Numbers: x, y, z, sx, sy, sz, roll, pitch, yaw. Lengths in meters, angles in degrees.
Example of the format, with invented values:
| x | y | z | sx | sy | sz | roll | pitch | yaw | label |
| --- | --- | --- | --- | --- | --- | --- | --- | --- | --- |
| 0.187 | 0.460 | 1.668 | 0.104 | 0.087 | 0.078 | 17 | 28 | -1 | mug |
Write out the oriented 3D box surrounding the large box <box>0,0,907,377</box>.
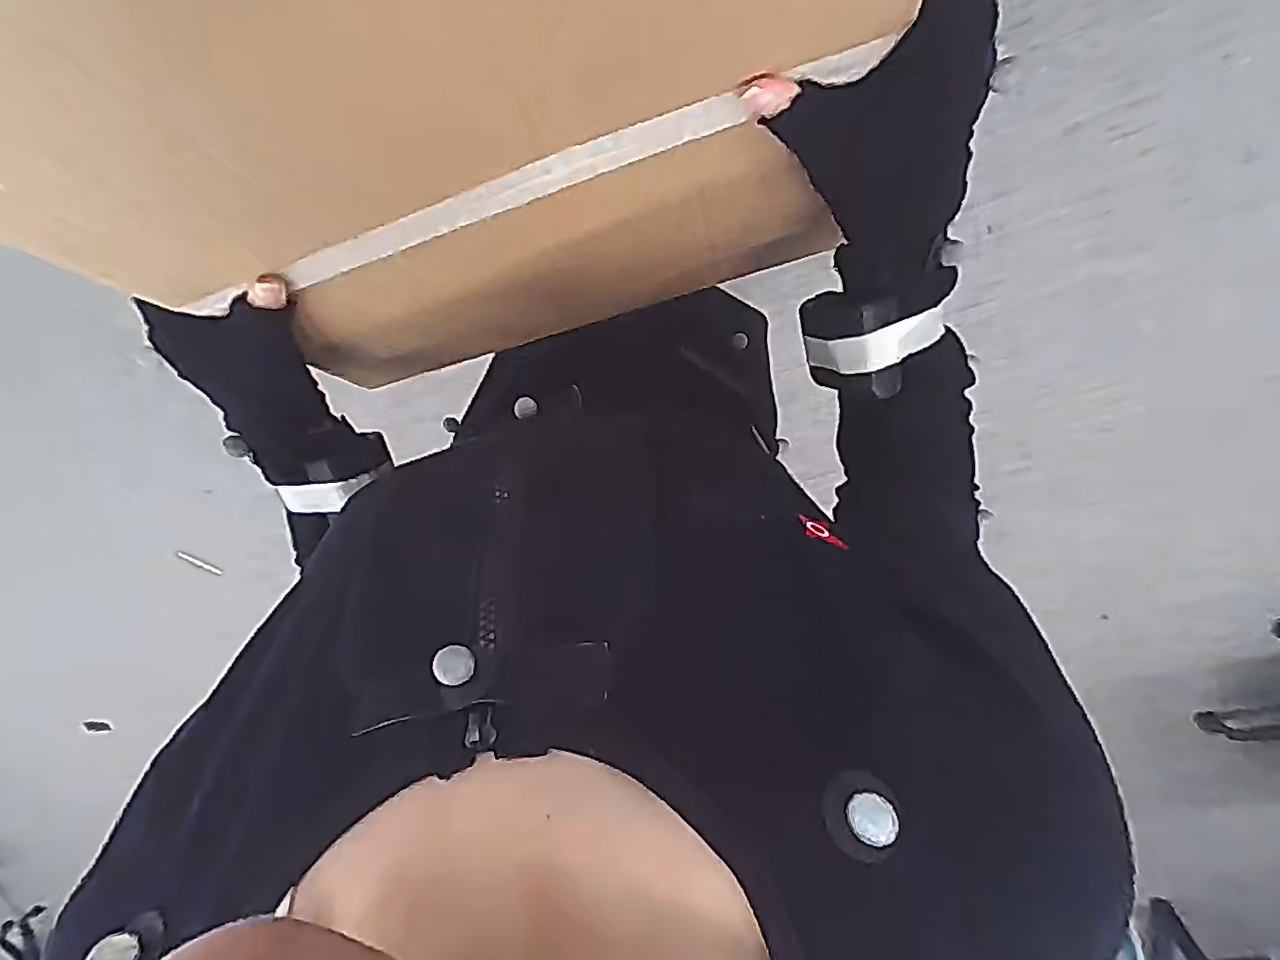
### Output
| x | y | z | sx | sy | sz | roll | pitch | yaw | label |
| --- | --- | --- | --- | --- | --- | --- | --- | --- | --- |
| -0.103 | -0.299 | 0.309 | 0.408 | 0.320 | 0.320 | -14 | 80 | 12 | large box |
